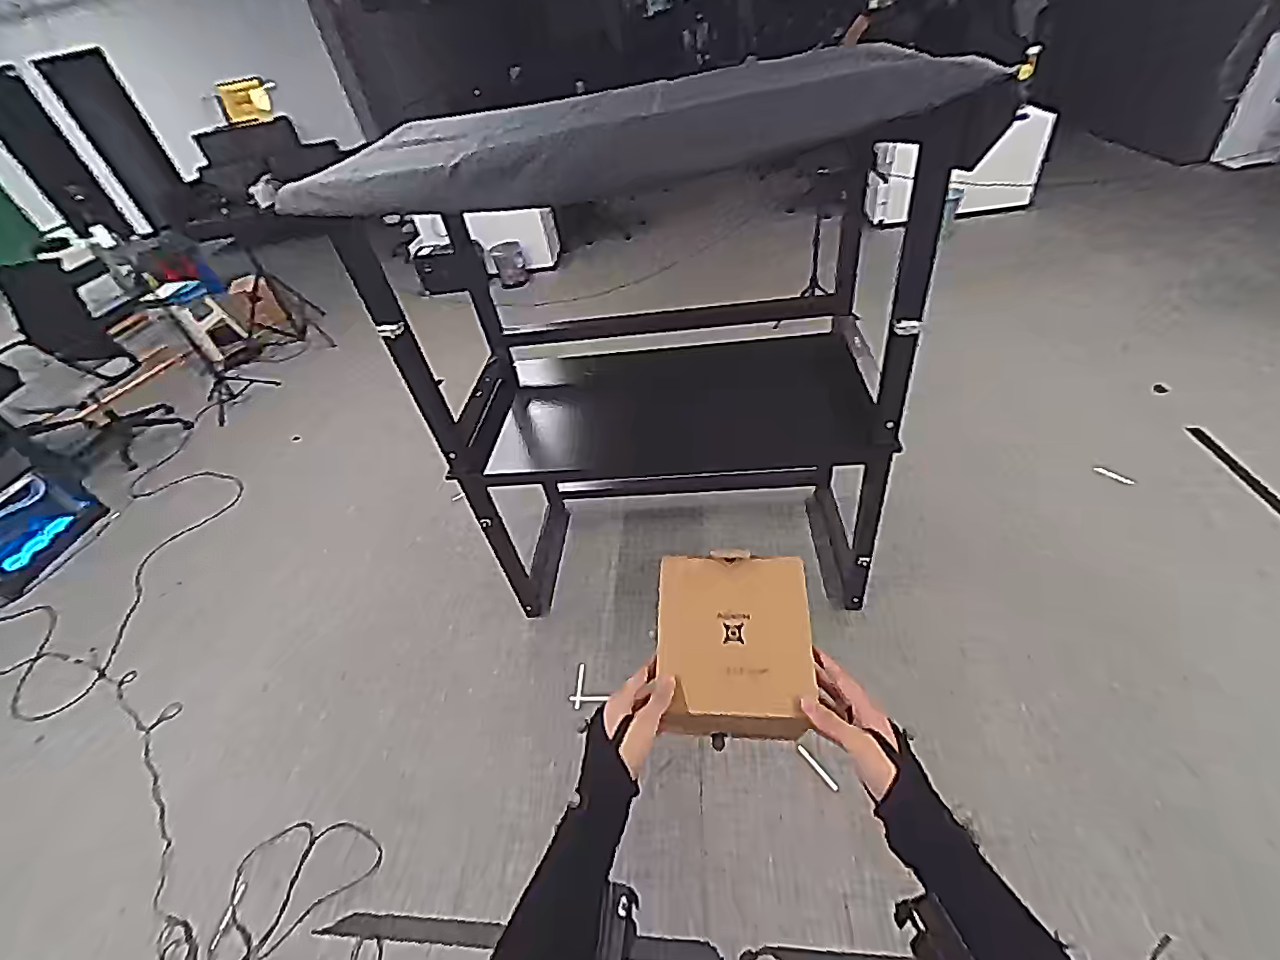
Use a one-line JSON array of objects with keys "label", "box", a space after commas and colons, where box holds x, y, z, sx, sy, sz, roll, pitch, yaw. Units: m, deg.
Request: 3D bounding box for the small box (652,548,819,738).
[{"label": "small box", "box": [0.106, 0.196, 0.644, 0.168, 0.176, 0.179, -1, 57, 7]}]
